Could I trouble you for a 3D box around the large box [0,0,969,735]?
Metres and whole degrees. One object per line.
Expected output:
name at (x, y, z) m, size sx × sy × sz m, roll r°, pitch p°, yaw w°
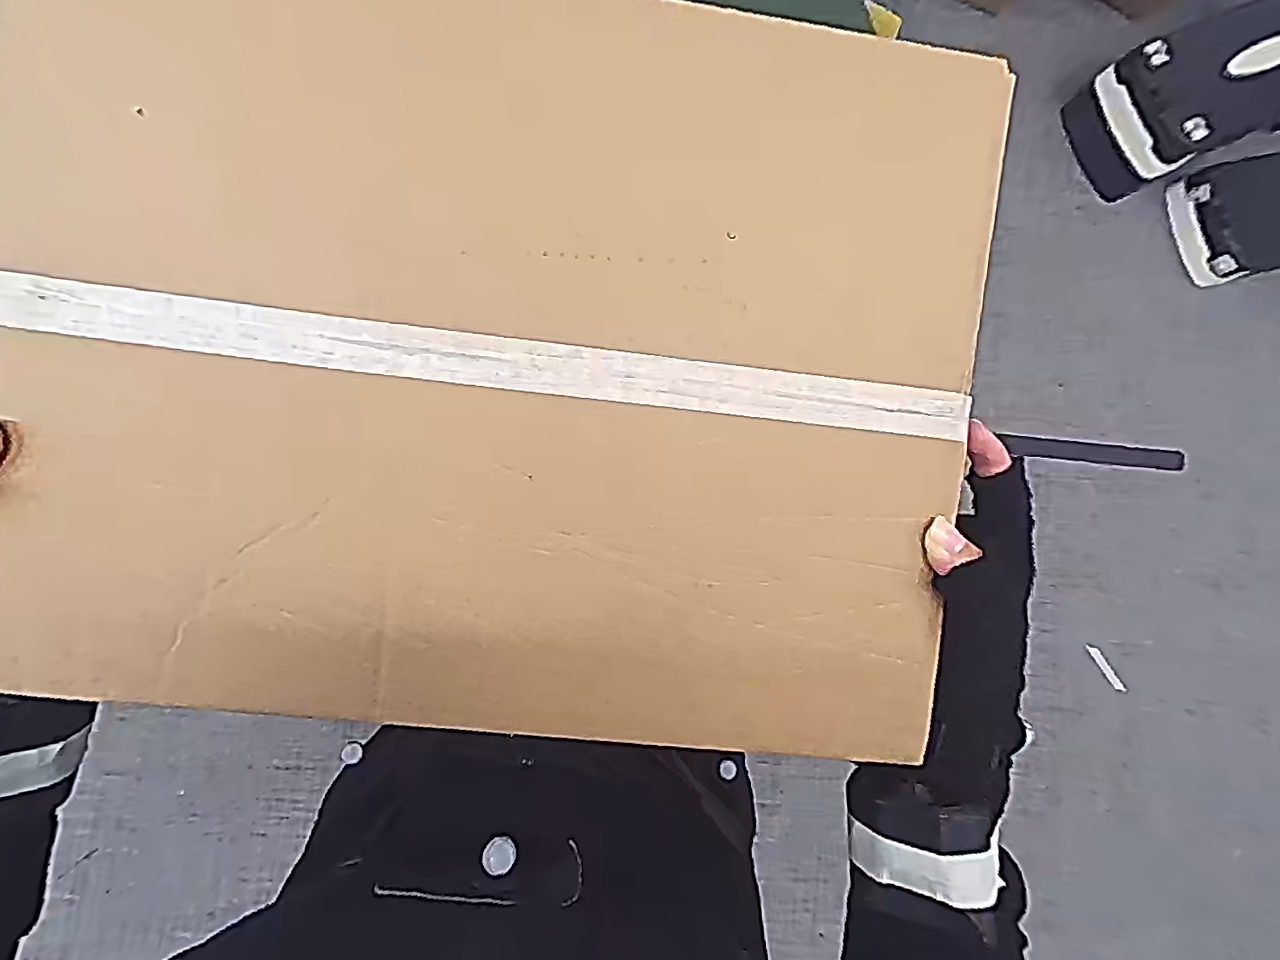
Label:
large box at (-0.068, -0.055, 0.386) m, size 0.408 × 0.320 × 0.320 m, roll 6°, pitch 91°, yaw -4°
